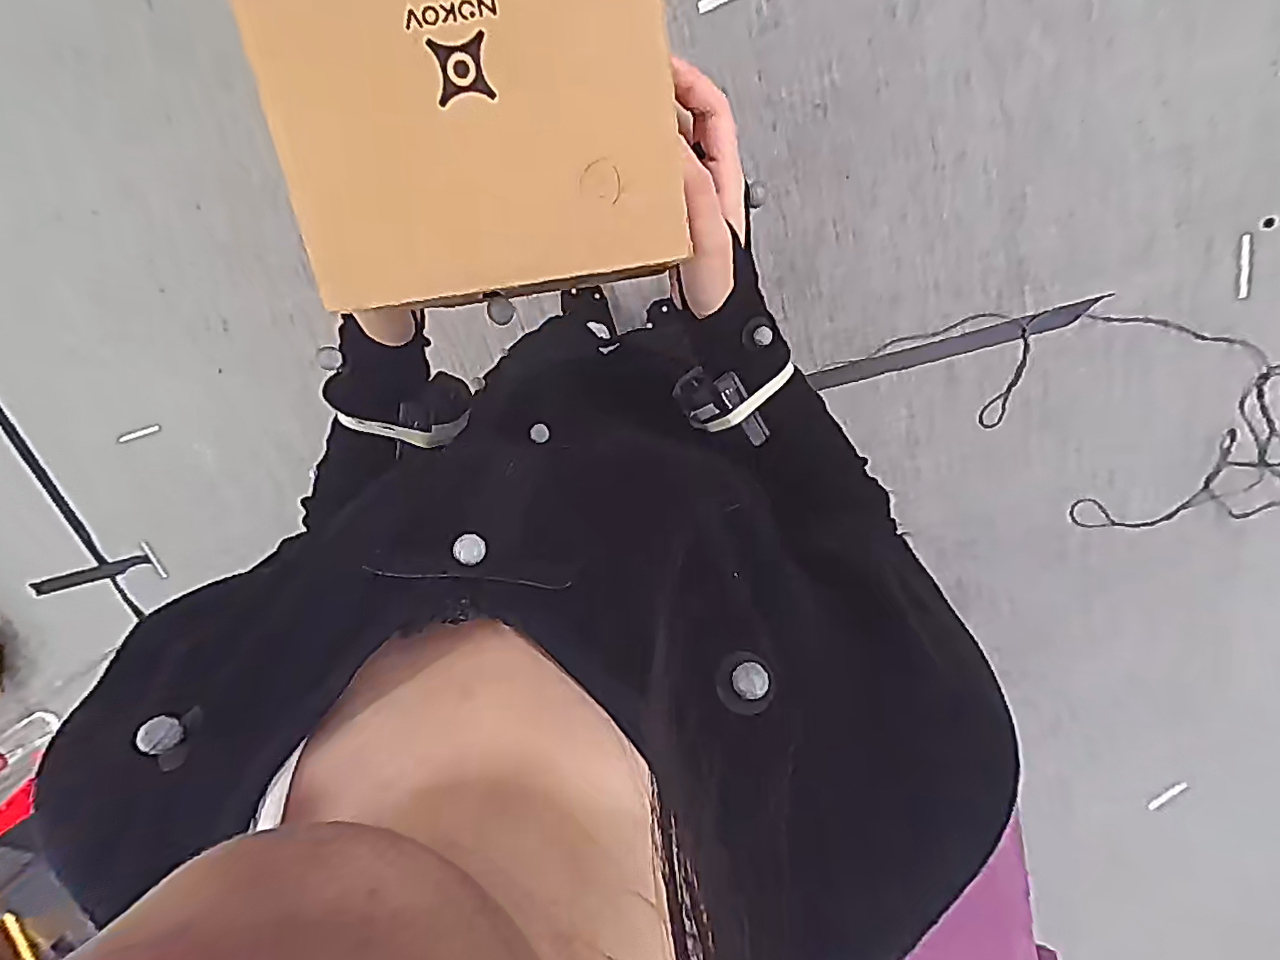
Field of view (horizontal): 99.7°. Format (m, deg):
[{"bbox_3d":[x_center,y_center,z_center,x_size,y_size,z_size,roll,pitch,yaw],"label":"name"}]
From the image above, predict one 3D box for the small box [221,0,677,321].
[{"bbox_3d":[-0.073,-0.188,0.287,0.168,0.176,0.179,-8,107,2],"label":"small box"}]
